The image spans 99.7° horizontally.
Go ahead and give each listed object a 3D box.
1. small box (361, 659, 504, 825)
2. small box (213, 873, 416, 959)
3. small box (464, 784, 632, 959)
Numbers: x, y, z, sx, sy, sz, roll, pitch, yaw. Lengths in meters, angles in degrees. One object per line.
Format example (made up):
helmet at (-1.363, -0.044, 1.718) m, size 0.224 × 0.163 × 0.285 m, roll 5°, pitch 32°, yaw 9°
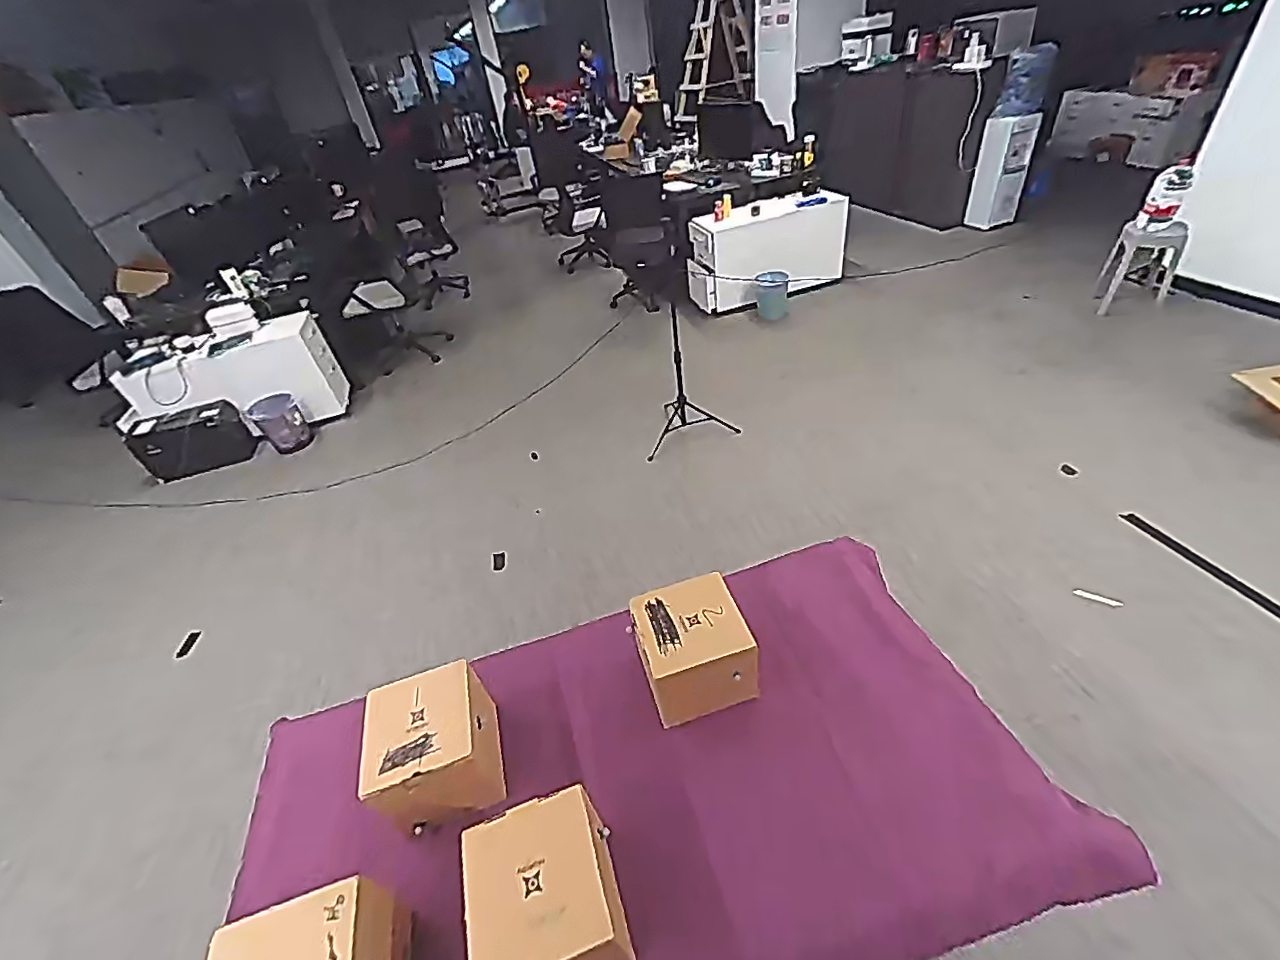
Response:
small box at (-0.332, 0.435, 0.890) m, size 0.168 × 0.176 × 0.179 m, roll -17°, pitch 40°, yaw -9°
small box at (-0.399, 0.631, 0.665) m, size 0.179 × 0.176 × 0.168 m, roll -17°, pitch 40°, yaw -8°
small box at (-0.120, 0.546, 0.711) m, size 0.168 × 0.176 × 0.179 m, roll -18°, pitch 42°, yaw -8°
